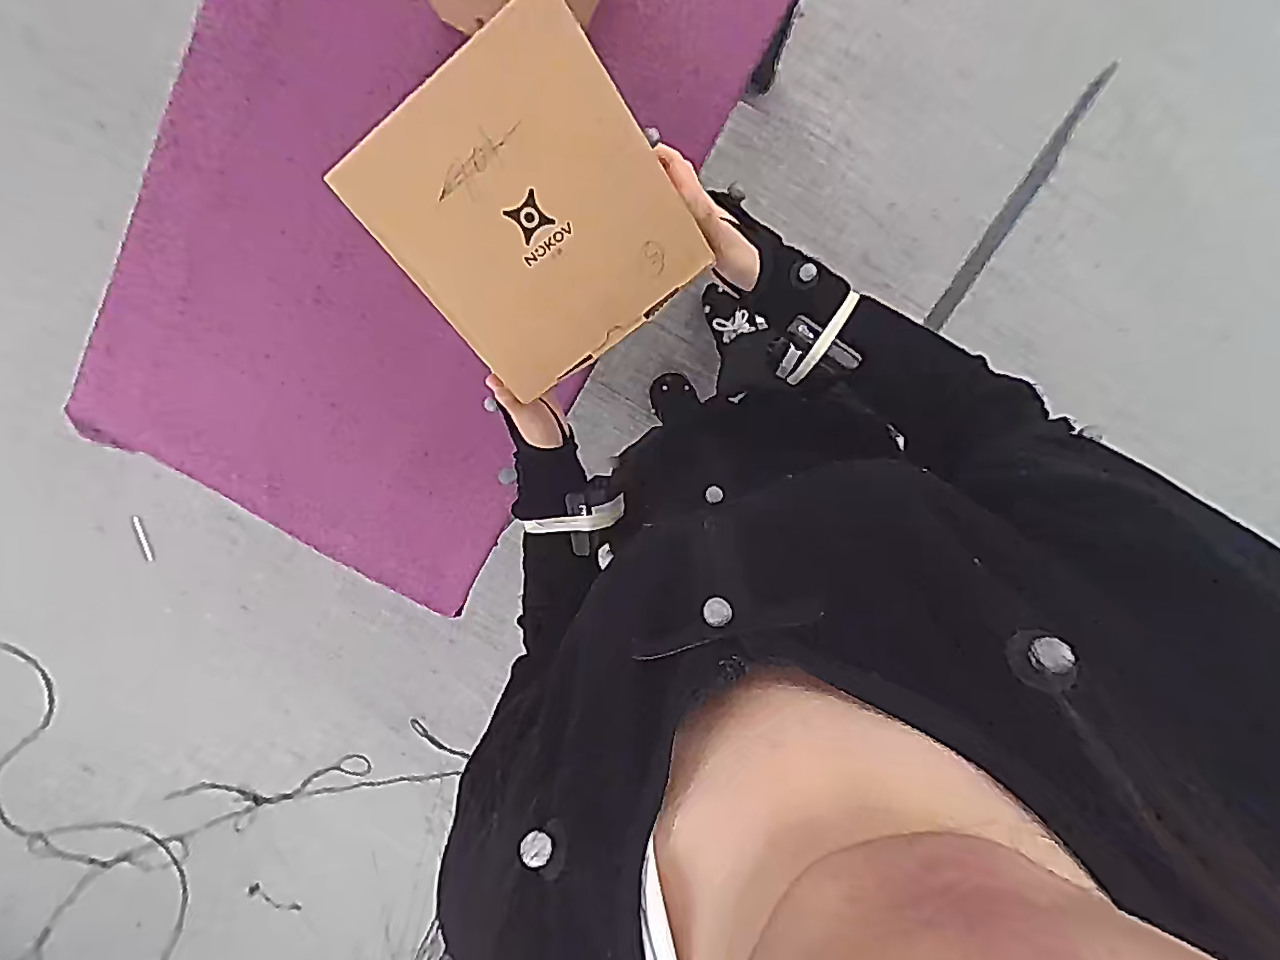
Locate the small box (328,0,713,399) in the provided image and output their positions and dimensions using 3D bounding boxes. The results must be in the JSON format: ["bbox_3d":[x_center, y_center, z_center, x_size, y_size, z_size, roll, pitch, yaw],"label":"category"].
[{"bbox_3d":[-0.072,-0.195,0.398,0.168,0.176,0.179,-34,115,10],"label":"small box"}]
